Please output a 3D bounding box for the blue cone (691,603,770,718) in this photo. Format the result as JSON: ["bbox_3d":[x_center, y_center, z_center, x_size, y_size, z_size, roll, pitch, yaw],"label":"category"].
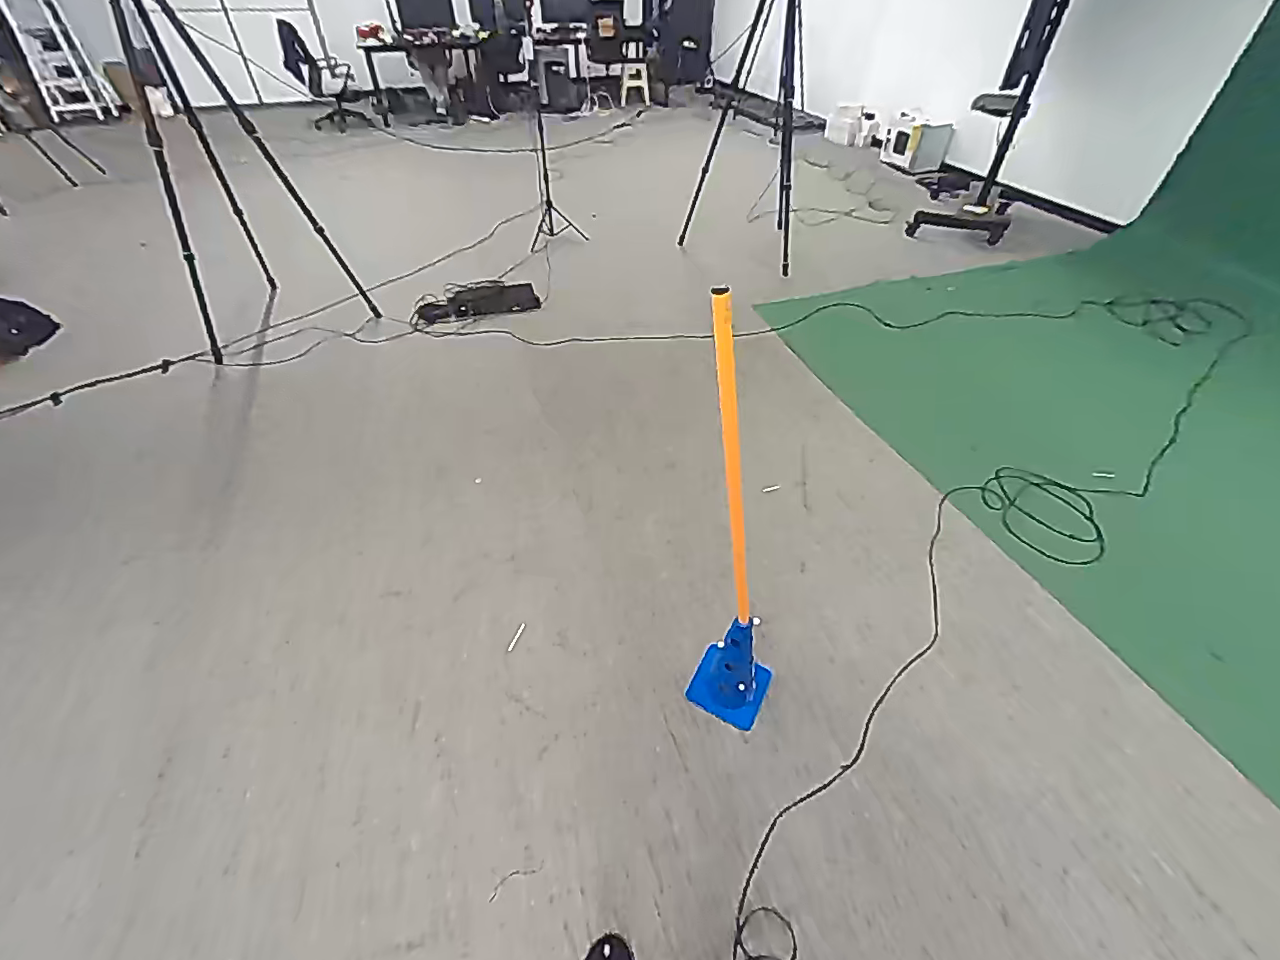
[{"bbox_3d":[0.251,0.445,1.411,0.193,0.380,0.192,20,49,20],"label":"blue cone"}]
